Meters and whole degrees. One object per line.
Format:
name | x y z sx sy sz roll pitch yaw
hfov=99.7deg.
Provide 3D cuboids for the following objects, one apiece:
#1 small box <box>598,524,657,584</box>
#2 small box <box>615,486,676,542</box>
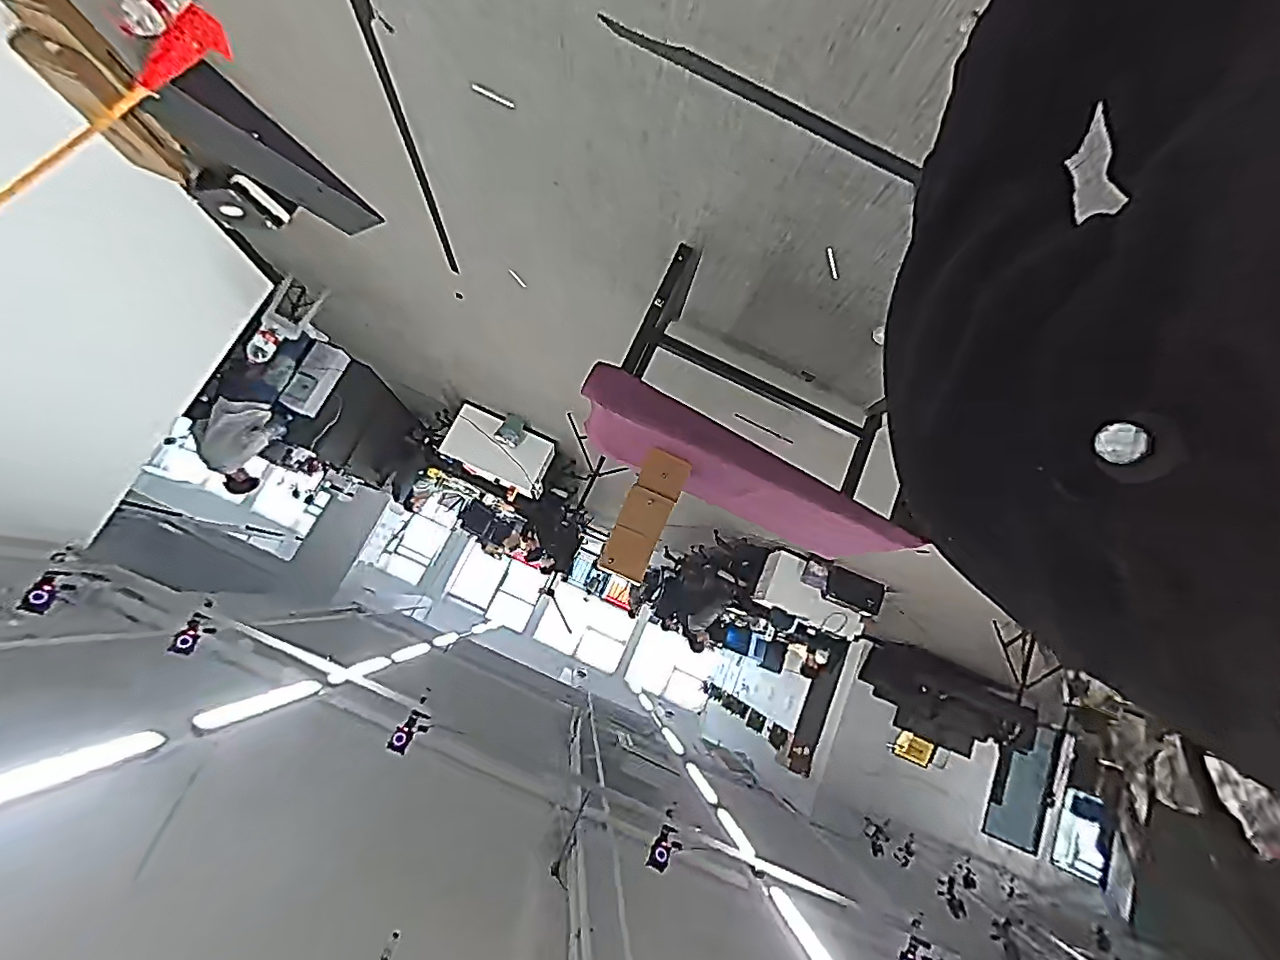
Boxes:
small box | -0.047 0.279 2.038 0.179 0.176 0.168 24 166 2
small box | 0.018 0.132 2.068 0.179 0.176 0.168 24 167 3
